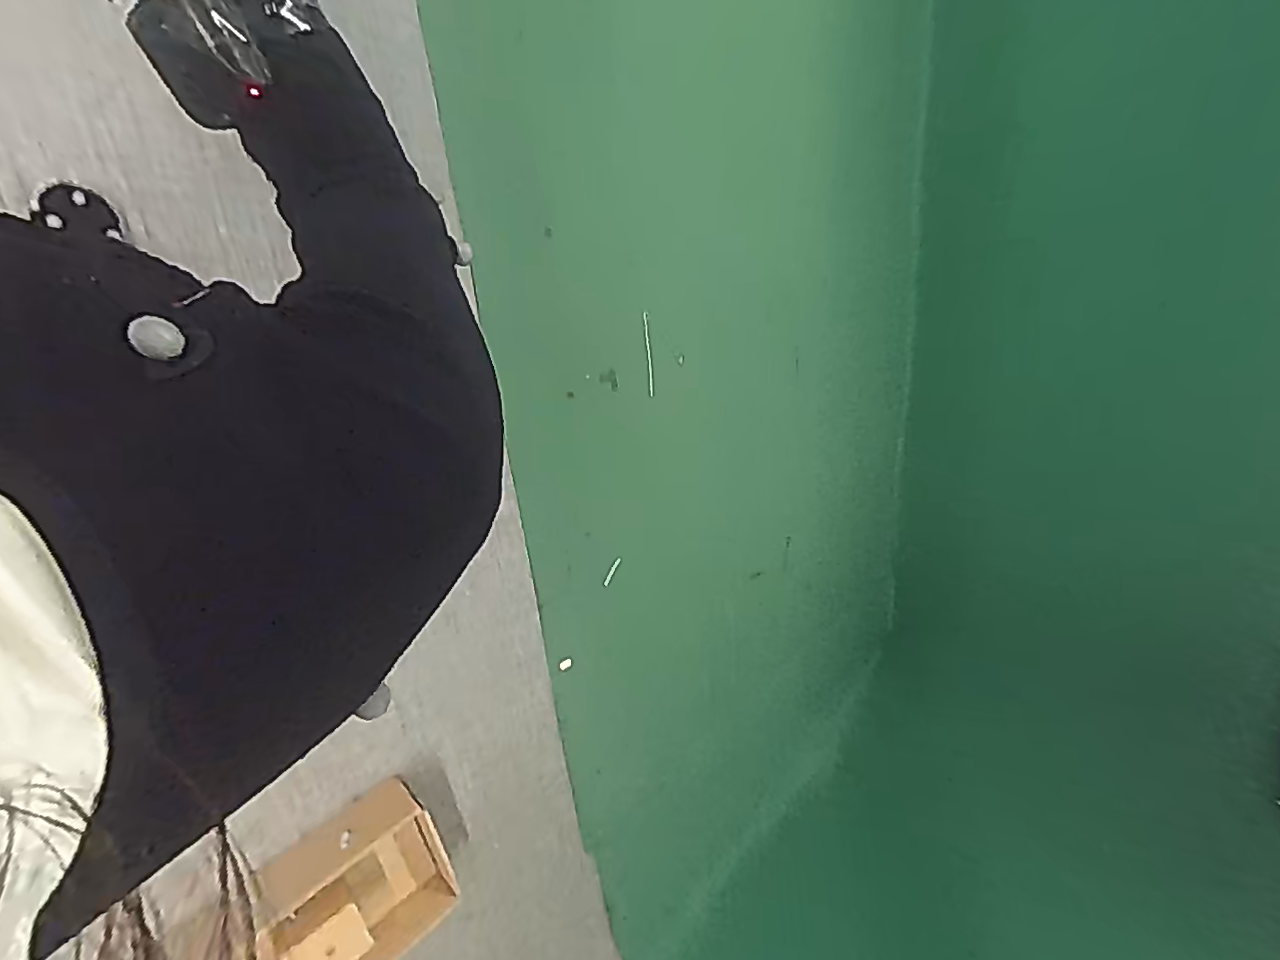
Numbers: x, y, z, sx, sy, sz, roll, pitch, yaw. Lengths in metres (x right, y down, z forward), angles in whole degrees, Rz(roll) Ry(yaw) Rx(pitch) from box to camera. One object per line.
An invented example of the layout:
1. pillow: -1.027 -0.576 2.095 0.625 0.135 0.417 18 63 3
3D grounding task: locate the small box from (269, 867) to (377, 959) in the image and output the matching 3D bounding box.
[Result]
1. small box: -0.798 1.127 1.359 0.168 0.176 0.179 -27 119 -38
